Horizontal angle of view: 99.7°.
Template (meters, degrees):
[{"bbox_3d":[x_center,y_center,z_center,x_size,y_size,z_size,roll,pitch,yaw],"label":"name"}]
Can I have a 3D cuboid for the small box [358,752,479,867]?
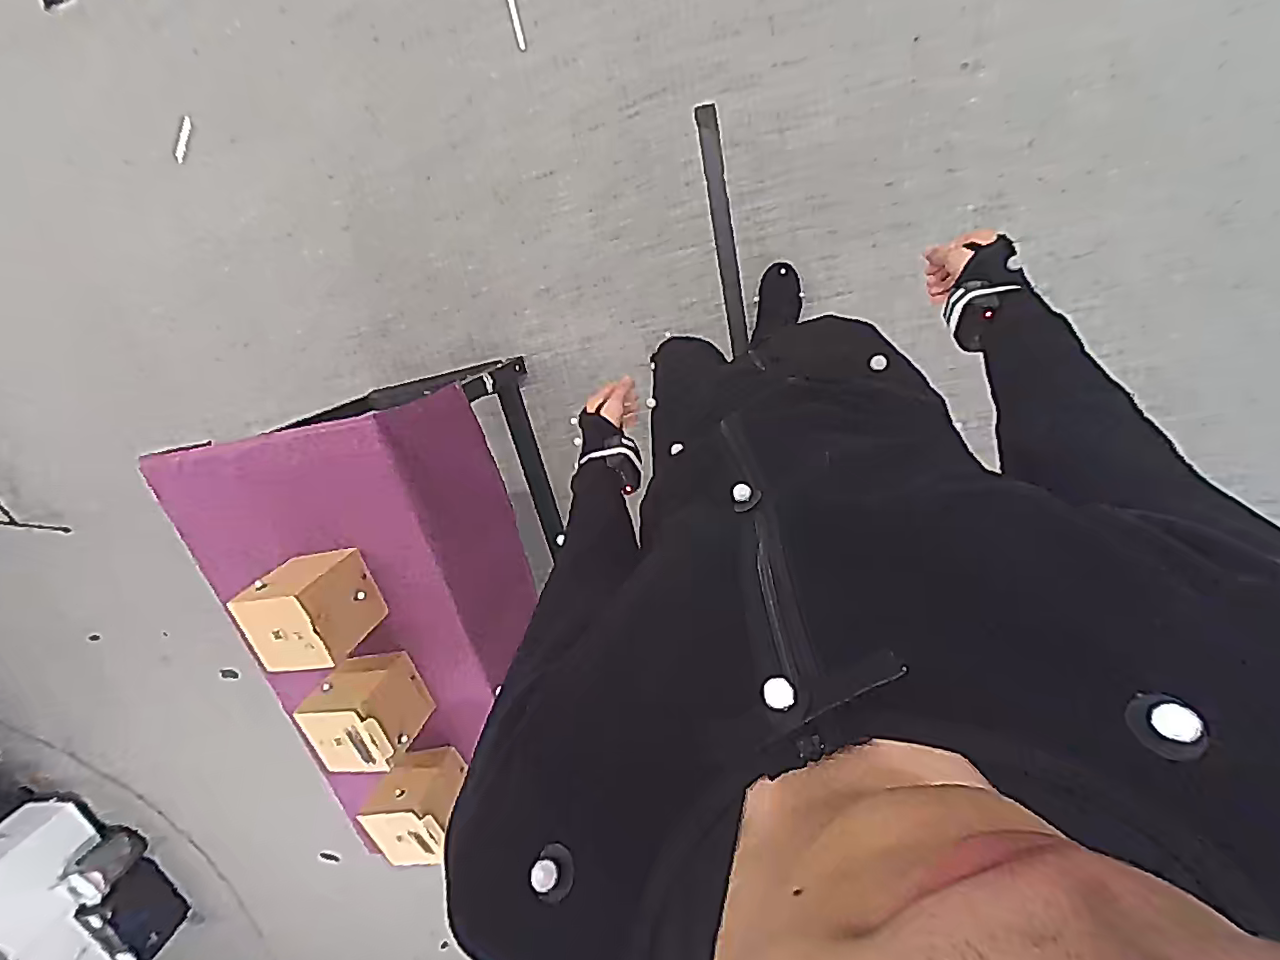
[{"bbox_3d":[-0.506,0.768,1.271,0.179,0.176,0.168,-18,108,19],"label":"small box"}]

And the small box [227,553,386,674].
[{"bbox_3d":[-0.656,0.264,1.084,0.179,0.176,0.168,-10,111,16],"label":"small box"}]
